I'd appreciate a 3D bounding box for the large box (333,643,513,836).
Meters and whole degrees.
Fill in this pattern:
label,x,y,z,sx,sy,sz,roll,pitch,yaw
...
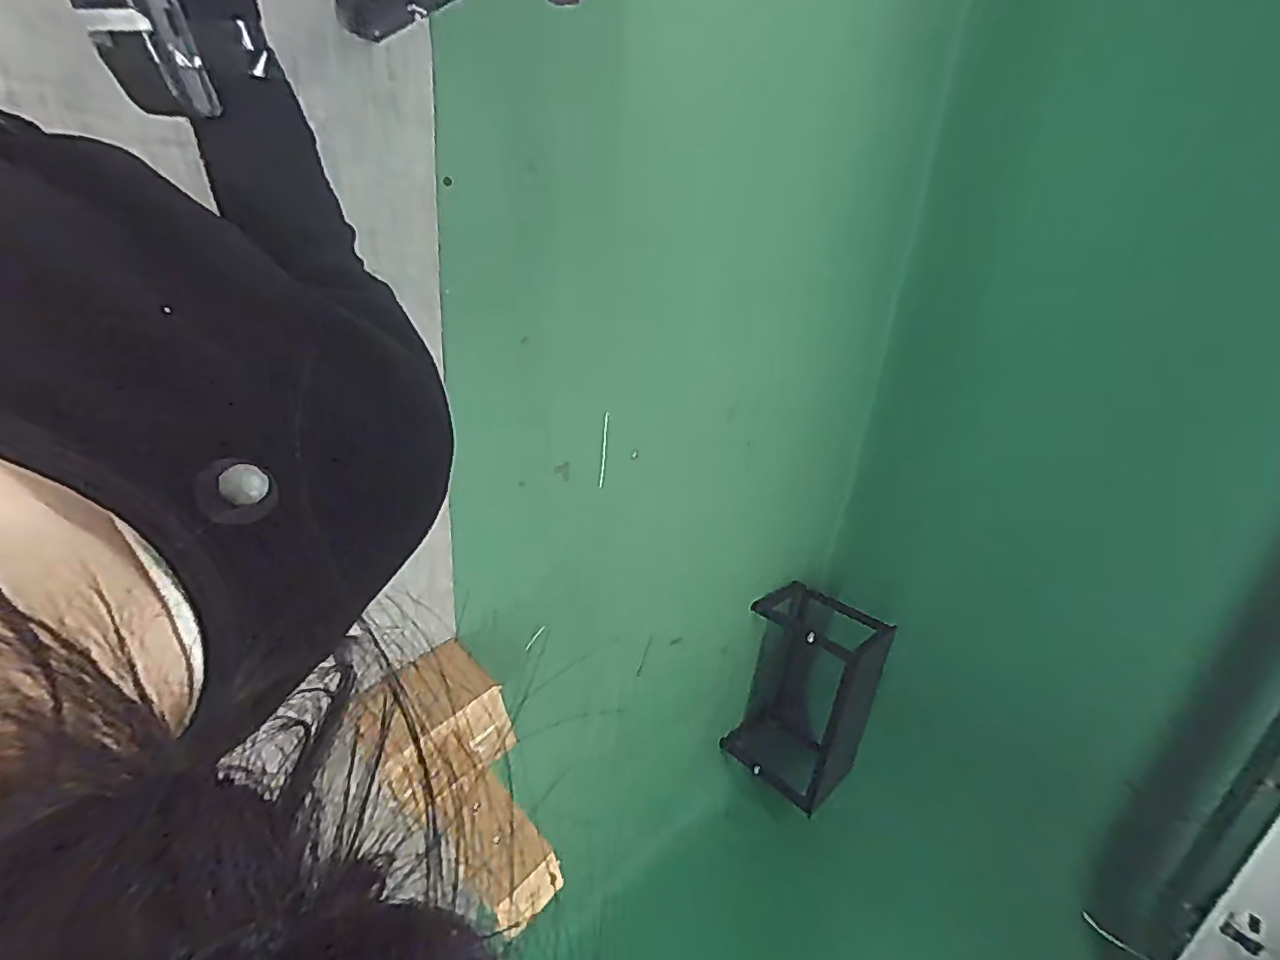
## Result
label,x,y,z,sx,sy,sz,roll,pitch,yaw
large box,-0.694,0.822,1.763,0.408,0.320,0.320,-31,129,-36

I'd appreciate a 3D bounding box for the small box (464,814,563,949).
label,x,y,z,sx,sy,sz,roll,pitch,yaw
small box,-0.324,1.004,1.365,0.179,0.176,0.168,-29,127,-35

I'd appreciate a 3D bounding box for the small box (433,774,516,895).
label,x,y,z,sx,sy,sz,roll,pitch,yaw
small box,-0.441,0.954,1.469,0.179,0.176,0.168,-31,128,-35

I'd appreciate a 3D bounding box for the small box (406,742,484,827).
label,x,y,z,sx,sy,sz,roll,pitch,yaw
small box,-0.554,0.901,1.575,0.168,0.176,0.179,-29,127,-36
